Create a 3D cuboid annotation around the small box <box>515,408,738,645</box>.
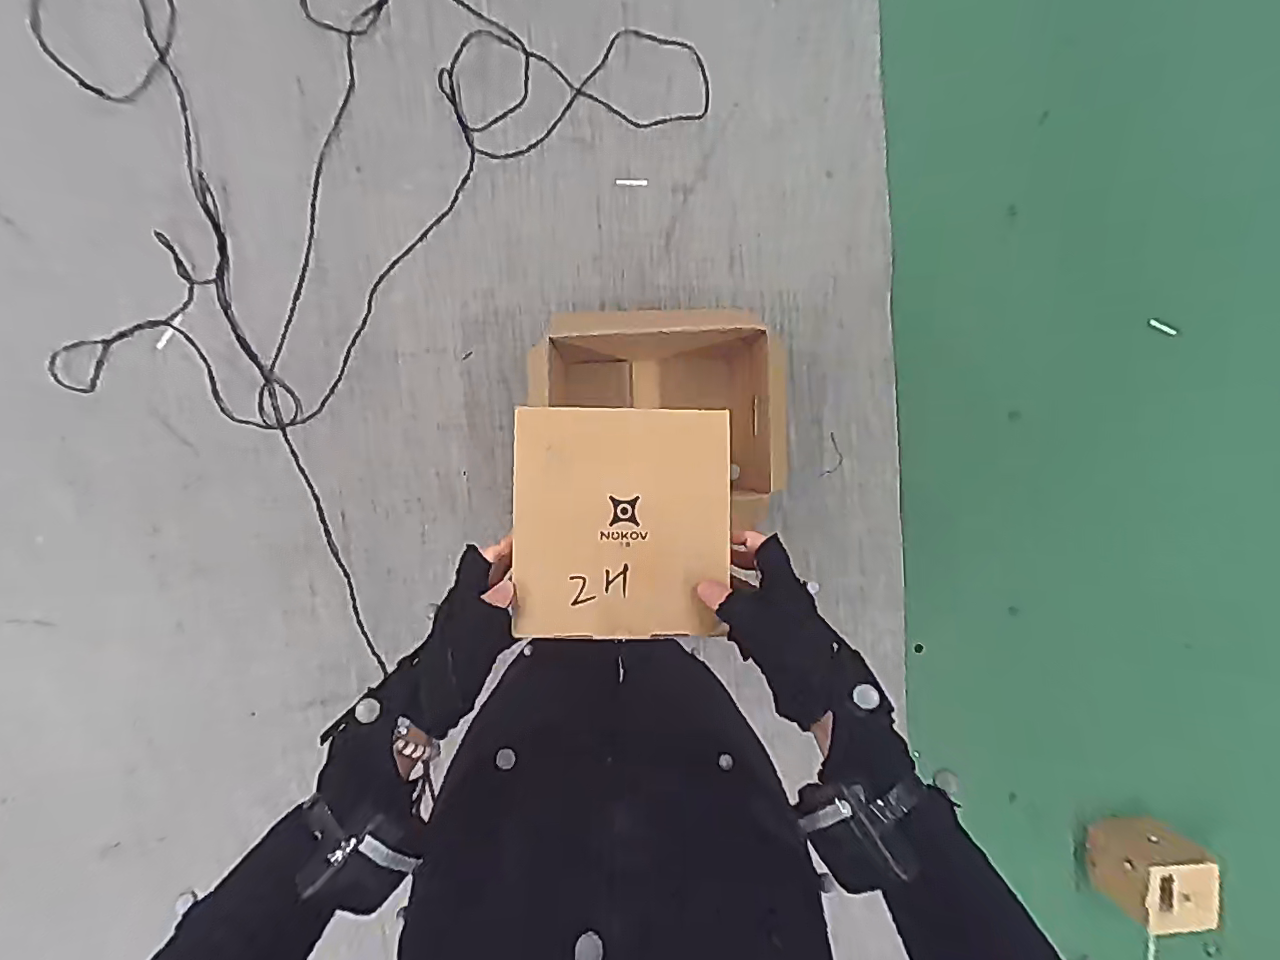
[{"bbox_3d":[-0.013,0.036,0.478,0.168,0.176,0.179,0,89,-3],"label":"small box"}]
